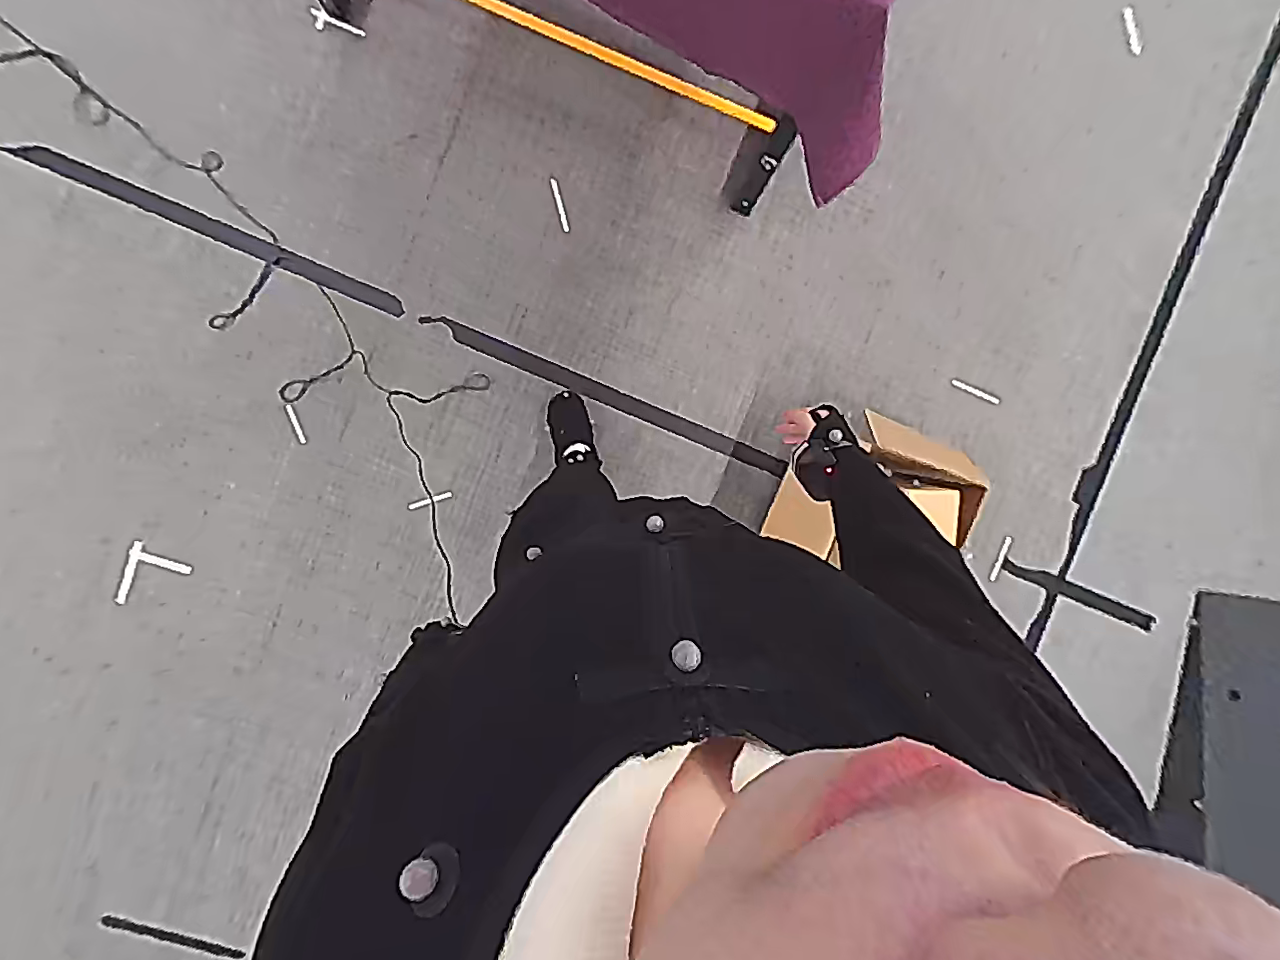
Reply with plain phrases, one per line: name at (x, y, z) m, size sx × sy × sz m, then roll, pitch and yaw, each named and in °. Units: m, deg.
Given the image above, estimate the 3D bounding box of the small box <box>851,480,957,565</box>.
small box at (0.614, 0.094, 1.276) m, size 0.168 × 0.176 × 0.179 m, roll 0°, pitch 98°, yaw -2°
